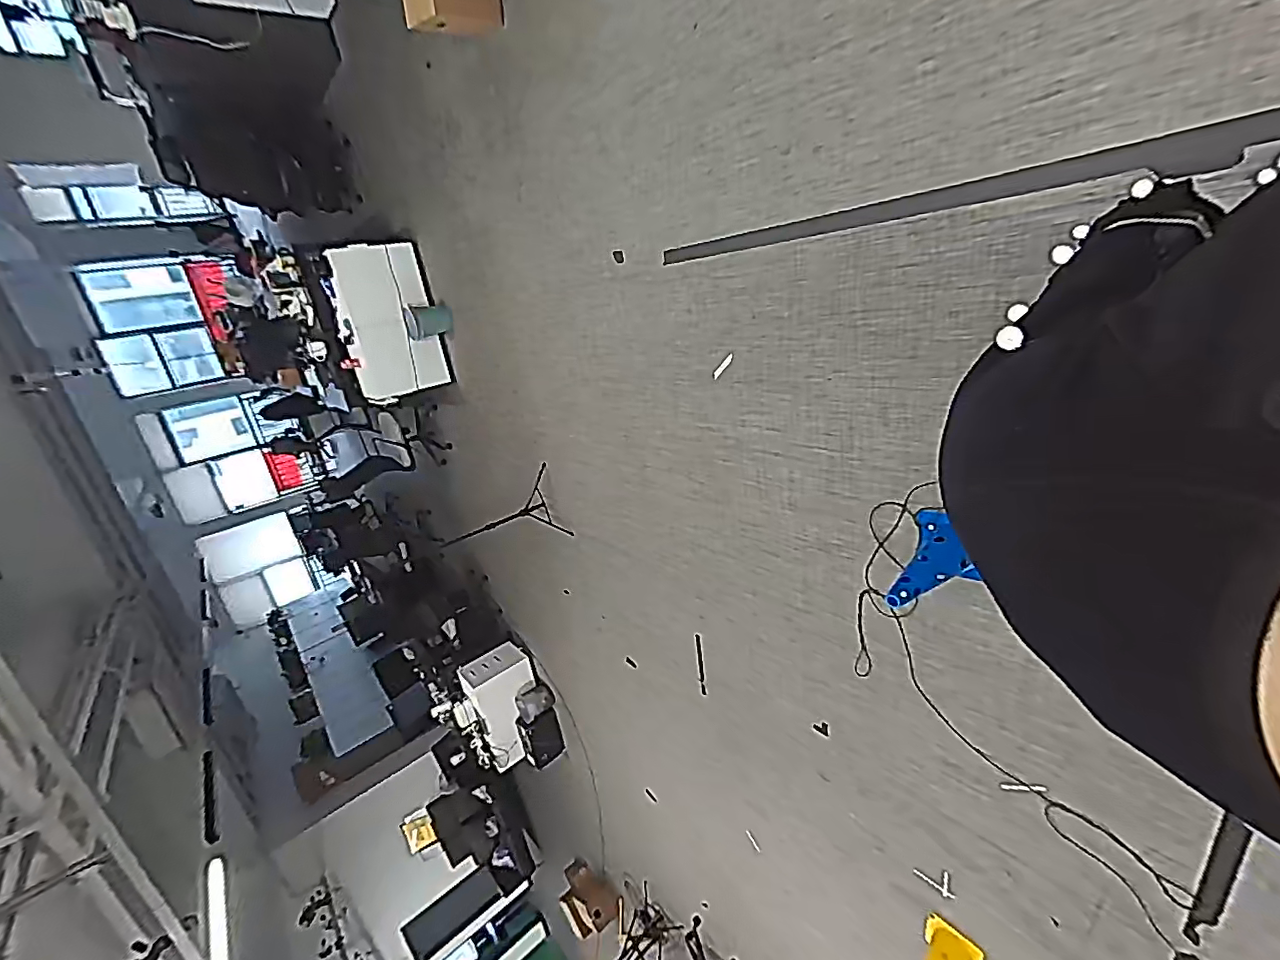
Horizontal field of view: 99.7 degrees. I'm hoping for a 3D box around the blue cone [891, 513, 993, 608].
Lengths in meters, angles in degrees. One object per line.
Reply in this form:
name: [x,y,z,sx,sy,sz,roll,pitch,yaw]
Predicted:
blue cone: [0.781,0.242,1.464,0.192,0.380,0.193,9,117,52]
